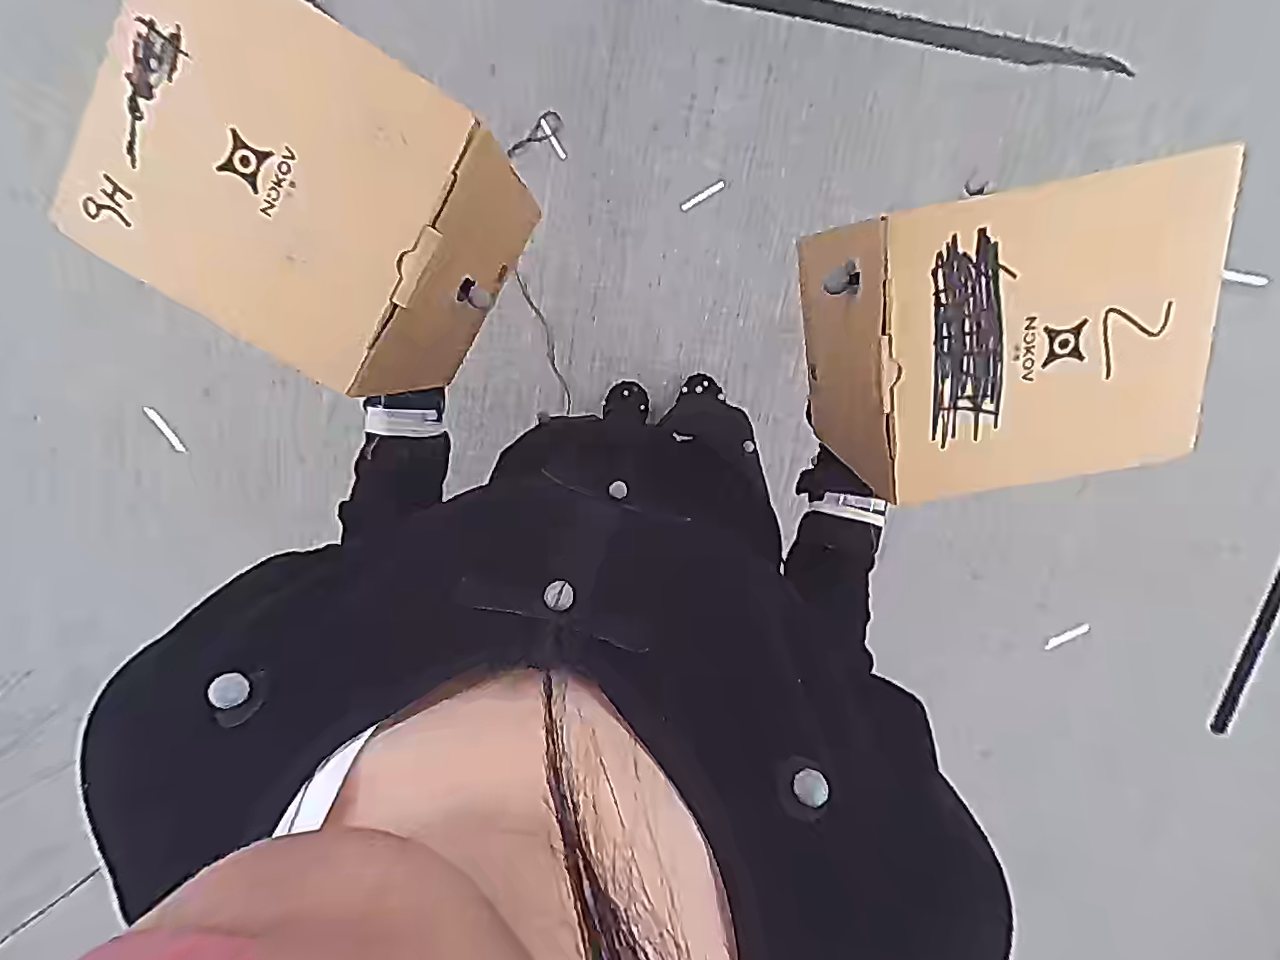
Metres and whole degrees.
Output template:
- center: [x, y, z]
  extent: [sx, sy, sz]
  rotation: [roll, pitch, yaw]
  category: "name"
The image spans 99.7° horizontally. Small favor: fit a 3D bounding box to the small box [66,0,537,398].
- center: [-0.187, -0.174, 0.357]
  extent: [0.179, 0.176, 0.168]
  rotation: [30, 100, -7]
  category: "small box"
